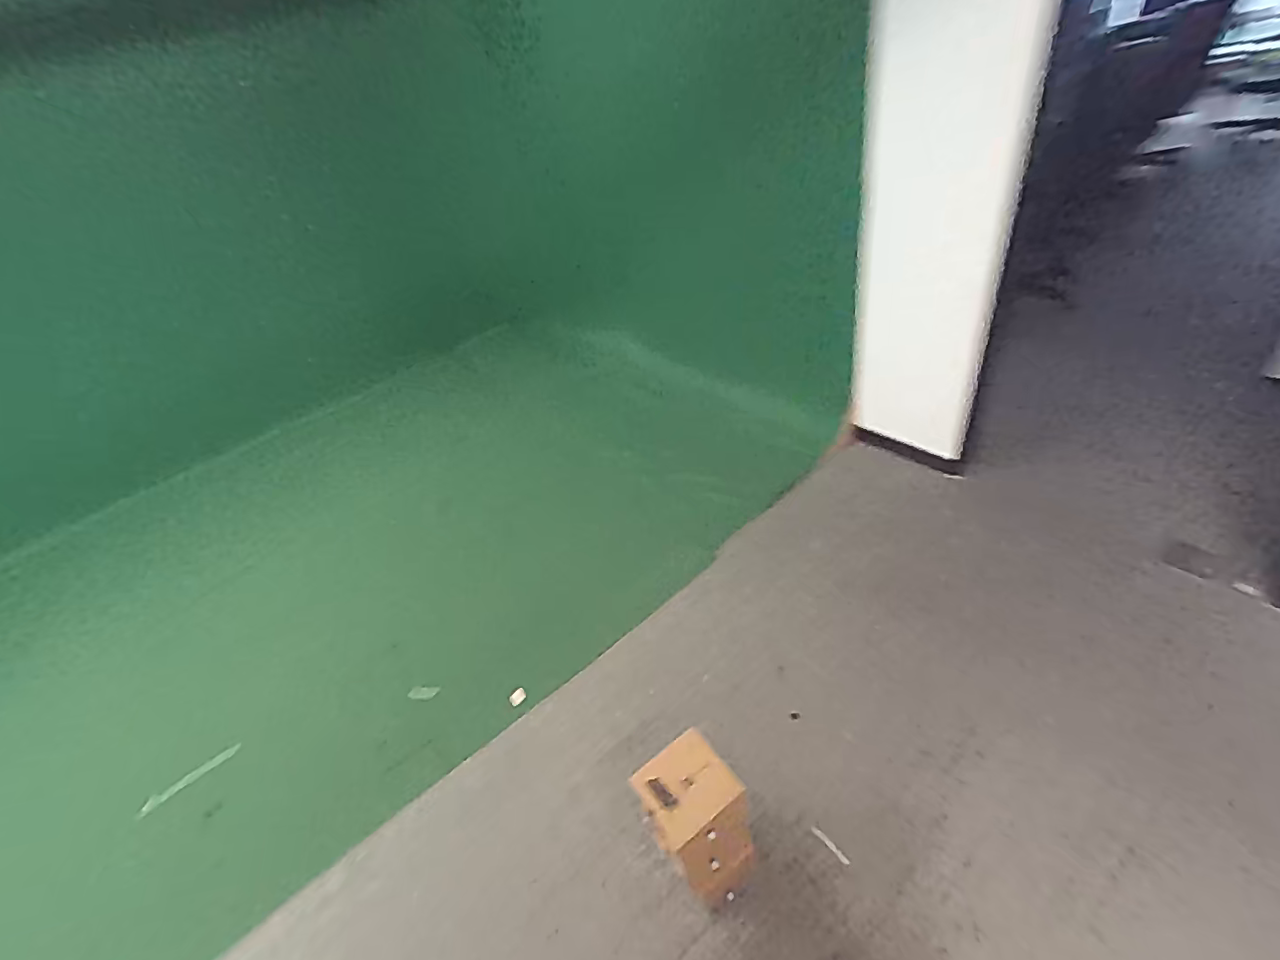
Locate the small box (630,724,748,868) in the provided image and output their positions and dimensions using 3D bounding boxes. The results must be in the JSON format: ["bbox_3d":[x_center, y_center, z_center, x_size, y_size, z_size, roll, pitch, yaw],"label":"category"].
[{"bbox_3d":[0.108,0.663,1.132,0.179,0.176,0.168,-31,42,-18],"label":"small box"}]

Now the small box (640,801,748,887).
[{"bbox_3d":[0.130,0.785,1.241,0.179,0.176,0.168,-31,42,-16],"label":"small box"}]

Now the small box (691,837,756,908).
[{"bbox_3d":[0.168,0.907,1.342,0.168,0.176,0.179,-30,42,-17],"label":"small box"}]
